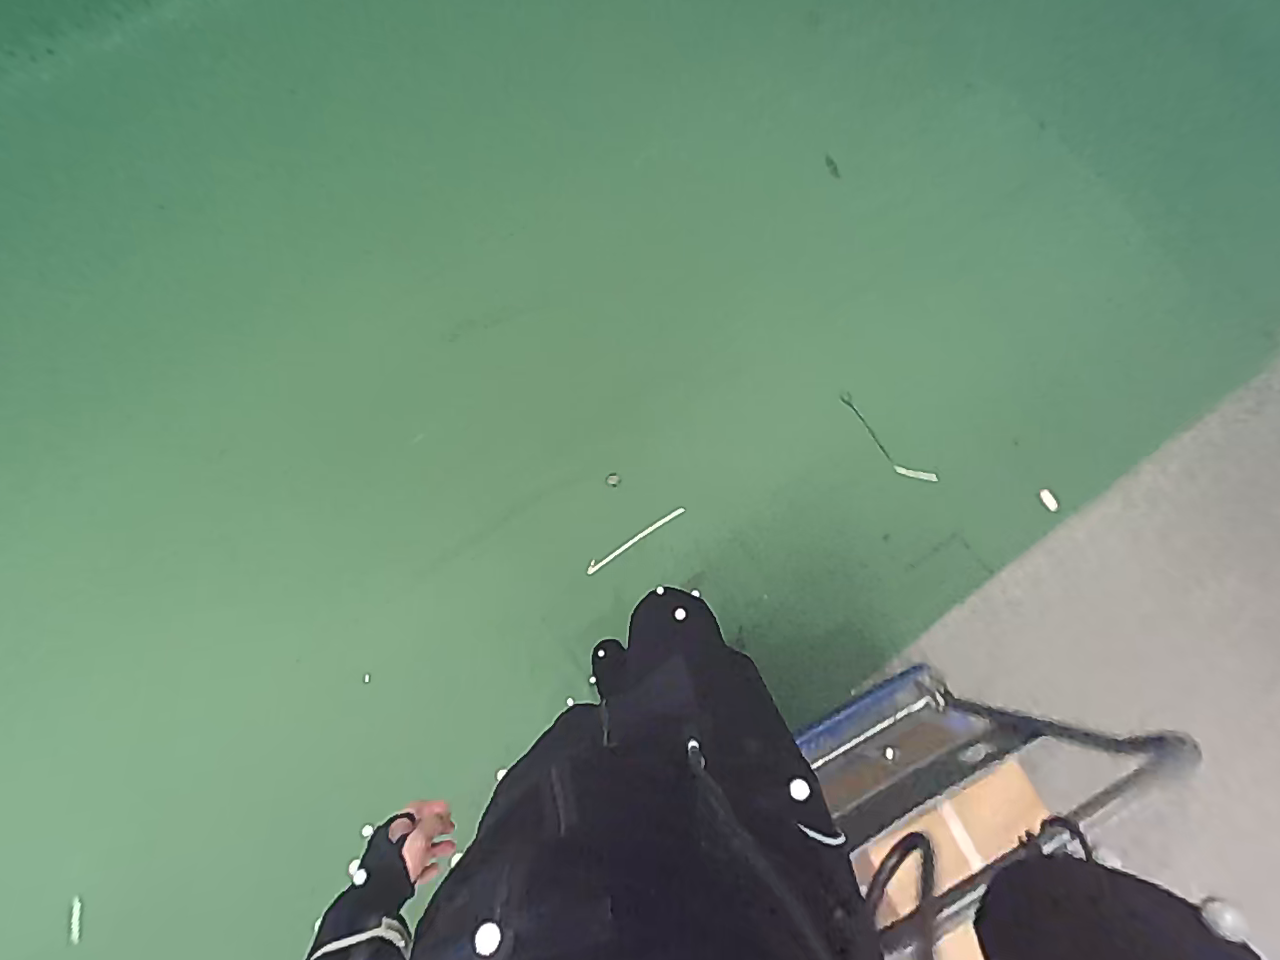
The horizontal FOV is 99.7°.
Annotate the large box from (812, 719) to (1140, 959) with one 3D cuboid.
[{"bbox_3d":[0.602,0.747,1.035,0.320,0.320,0.408,-27,80,-6],"label":"large box"}]
